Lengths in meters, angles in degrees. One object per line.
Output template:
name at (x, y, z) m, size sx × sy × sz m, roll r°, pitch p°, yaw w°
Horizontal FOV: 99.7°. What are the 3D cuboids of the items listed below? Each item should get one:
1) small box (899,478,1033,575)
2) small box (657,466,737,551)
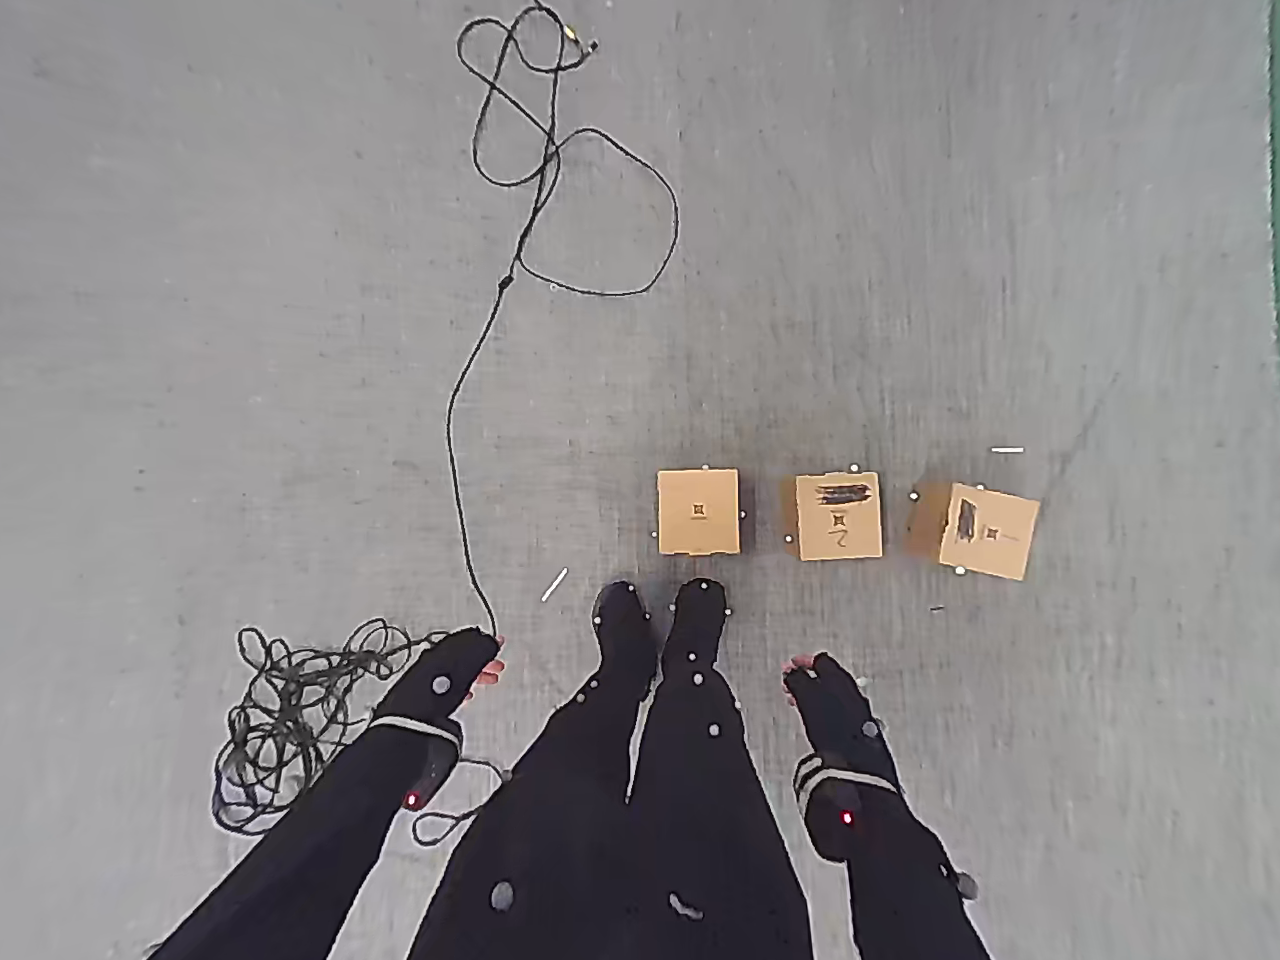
small box at (0.689, 0.096, 1.165) m, size 0.179 × 0.176 × 0.168 m, roll 13°, pitch 89°, yaw 2°
small box at (0.120, 0.062, 1.193) m, size 0.168 × 0.176 × 0.179 m, roll -2°, pitch 89°, yaw 3°
